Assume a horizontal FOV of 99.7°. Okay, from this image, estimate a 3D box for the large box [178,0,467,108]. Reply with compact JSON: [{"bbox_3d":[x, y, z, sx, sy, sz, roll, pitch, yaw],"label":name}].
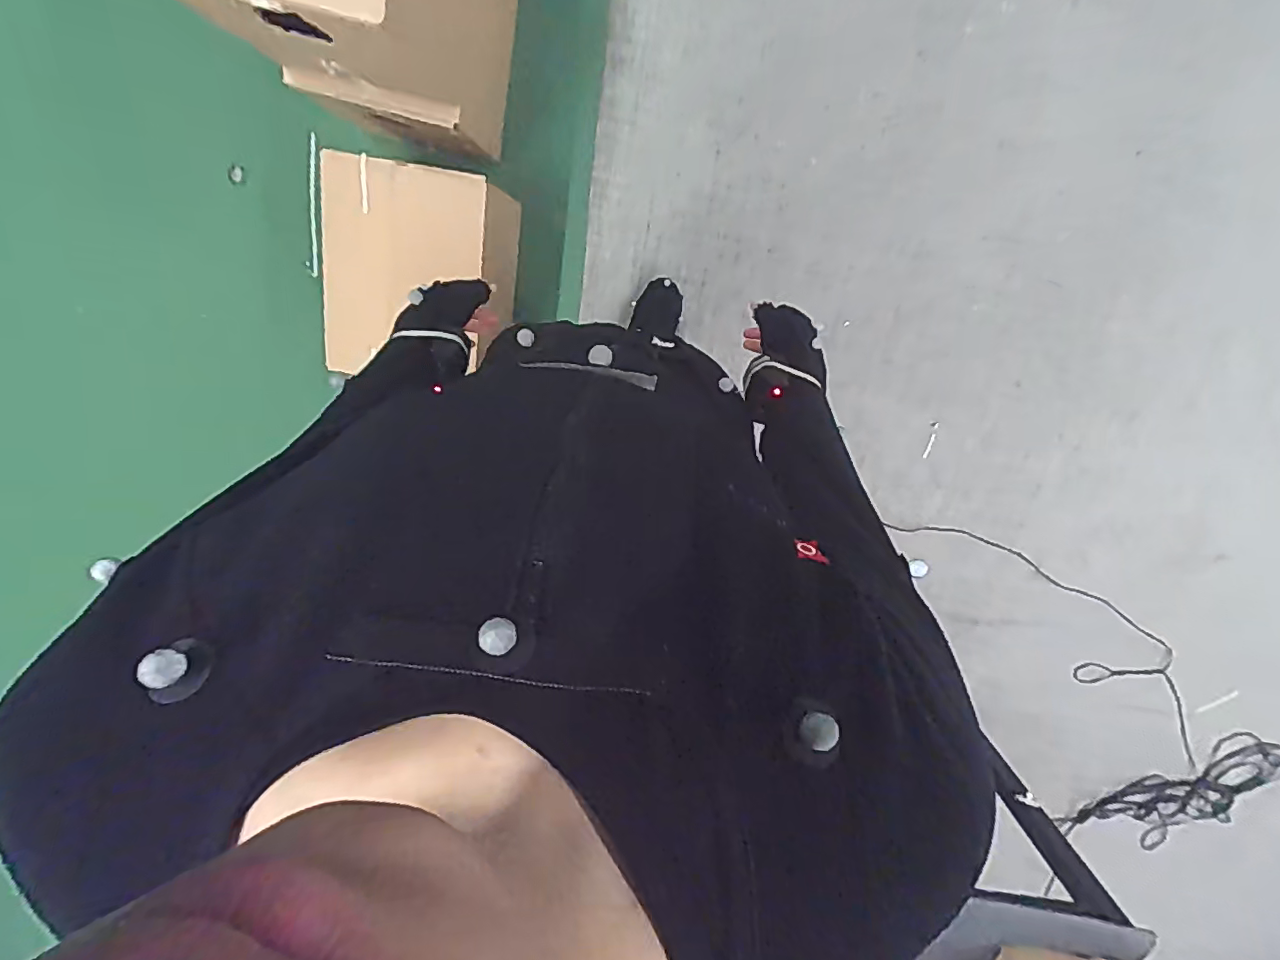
[{"bbox_3d":[-0.432,-0.821,0.749,0.320,0.320,0.408,11,107,-5],"label":"large box"}]
